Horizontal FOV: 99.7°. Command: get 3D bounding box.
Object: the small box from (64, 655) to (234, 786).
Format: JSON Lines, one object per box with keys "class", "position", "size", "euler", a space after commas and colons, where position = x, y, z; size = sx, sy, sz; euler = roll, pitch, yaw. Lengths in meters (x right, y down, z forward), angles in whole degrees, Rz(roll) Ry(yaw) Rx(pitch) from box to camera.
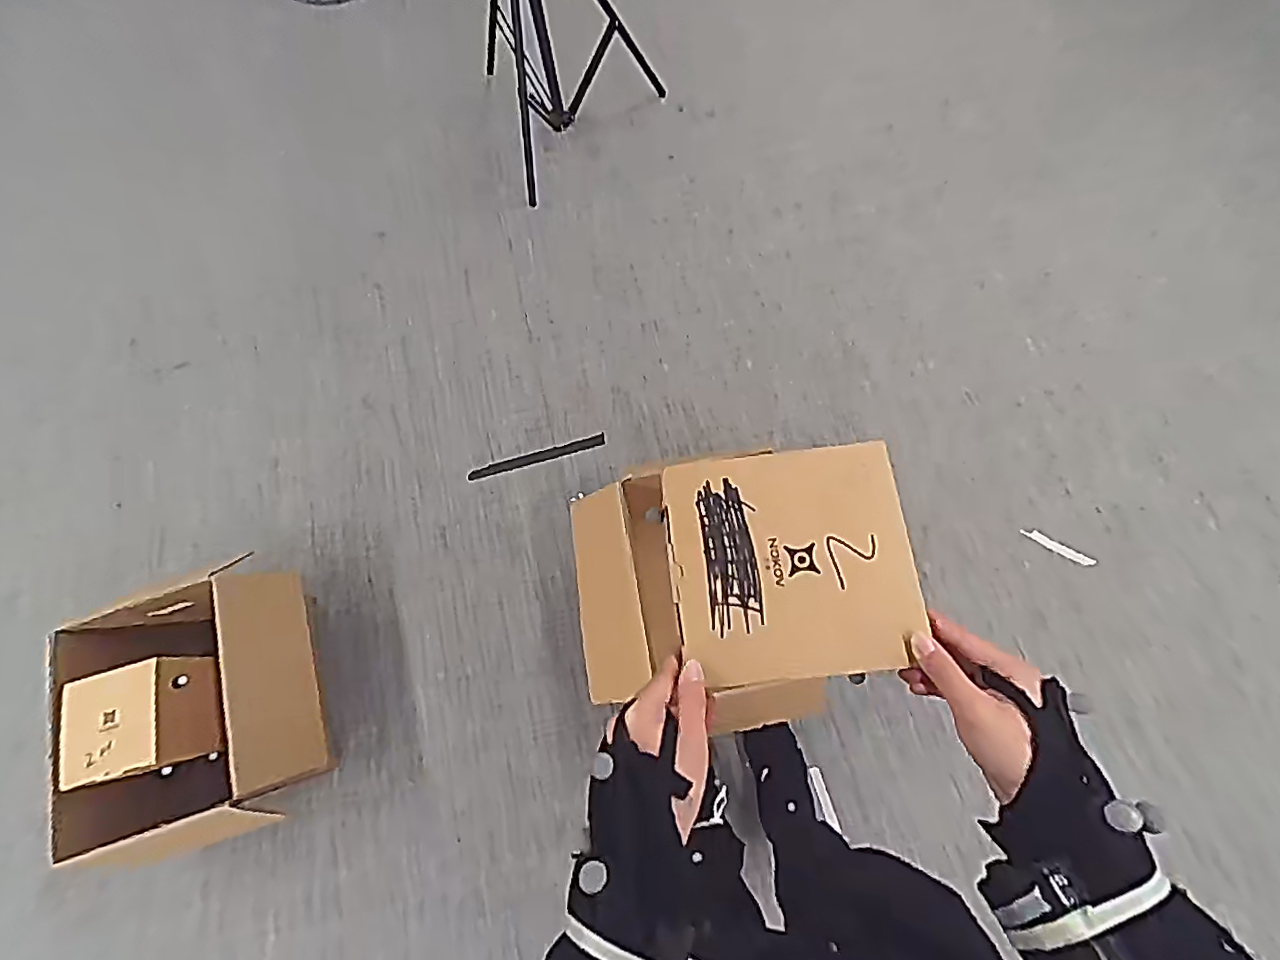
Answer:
{"class": "small box", "position": [-0.894, 0.433, 1.000], "size": [0.168, 0.176, 0.179], "euler": [-17, 73, -1]}
